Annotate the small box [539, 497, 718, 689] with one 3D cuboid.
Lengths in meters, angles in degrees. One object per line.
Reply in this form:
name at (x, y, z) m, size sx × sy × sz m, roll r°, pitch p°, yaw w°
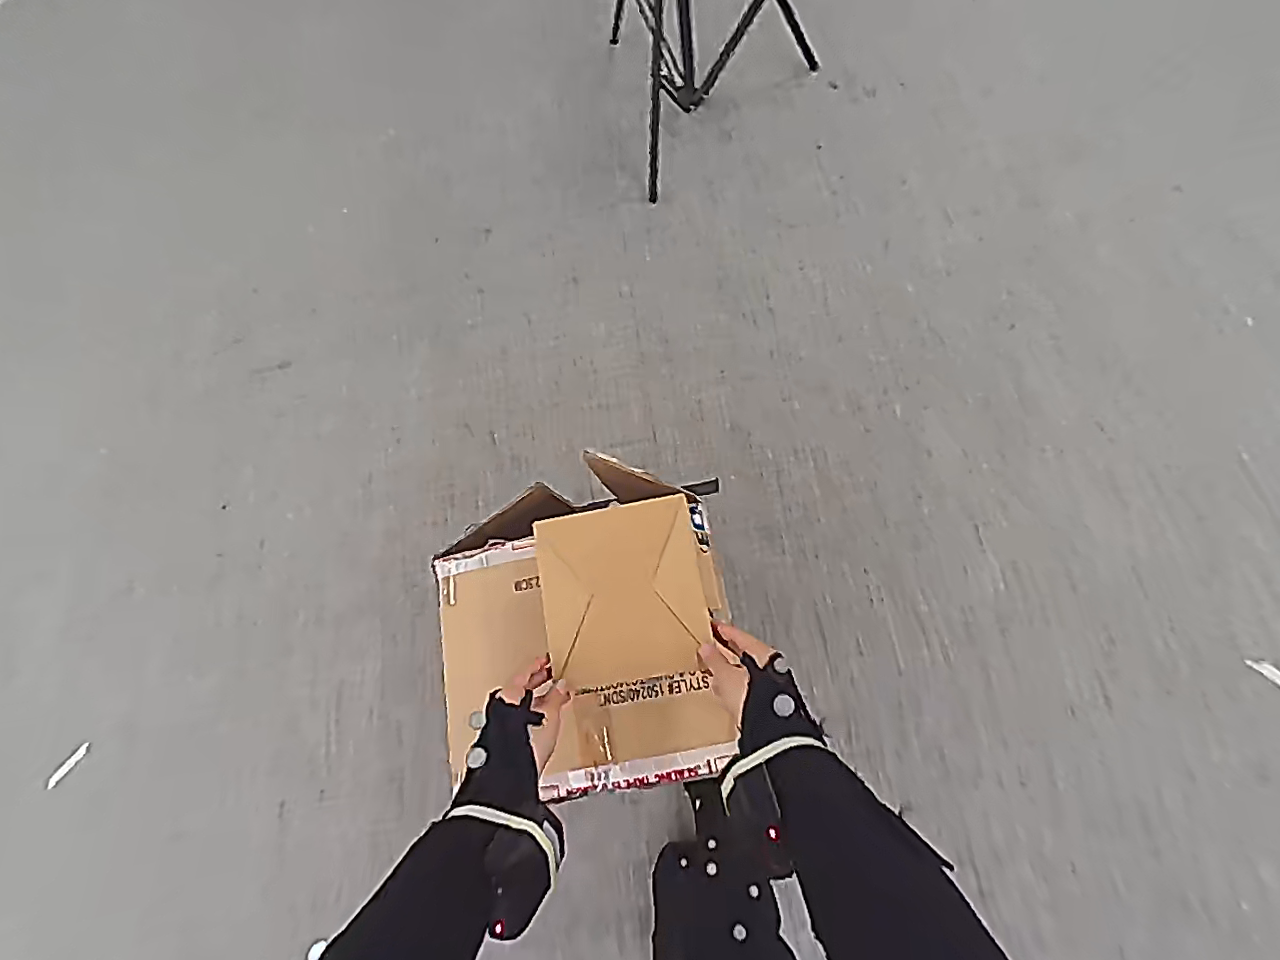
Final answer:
small box at (-0.008, 0.132, 0.625) m, size 0.168 × 0.176 × 0.179 m, roll -11°, pitch 76°, yaw 4°
